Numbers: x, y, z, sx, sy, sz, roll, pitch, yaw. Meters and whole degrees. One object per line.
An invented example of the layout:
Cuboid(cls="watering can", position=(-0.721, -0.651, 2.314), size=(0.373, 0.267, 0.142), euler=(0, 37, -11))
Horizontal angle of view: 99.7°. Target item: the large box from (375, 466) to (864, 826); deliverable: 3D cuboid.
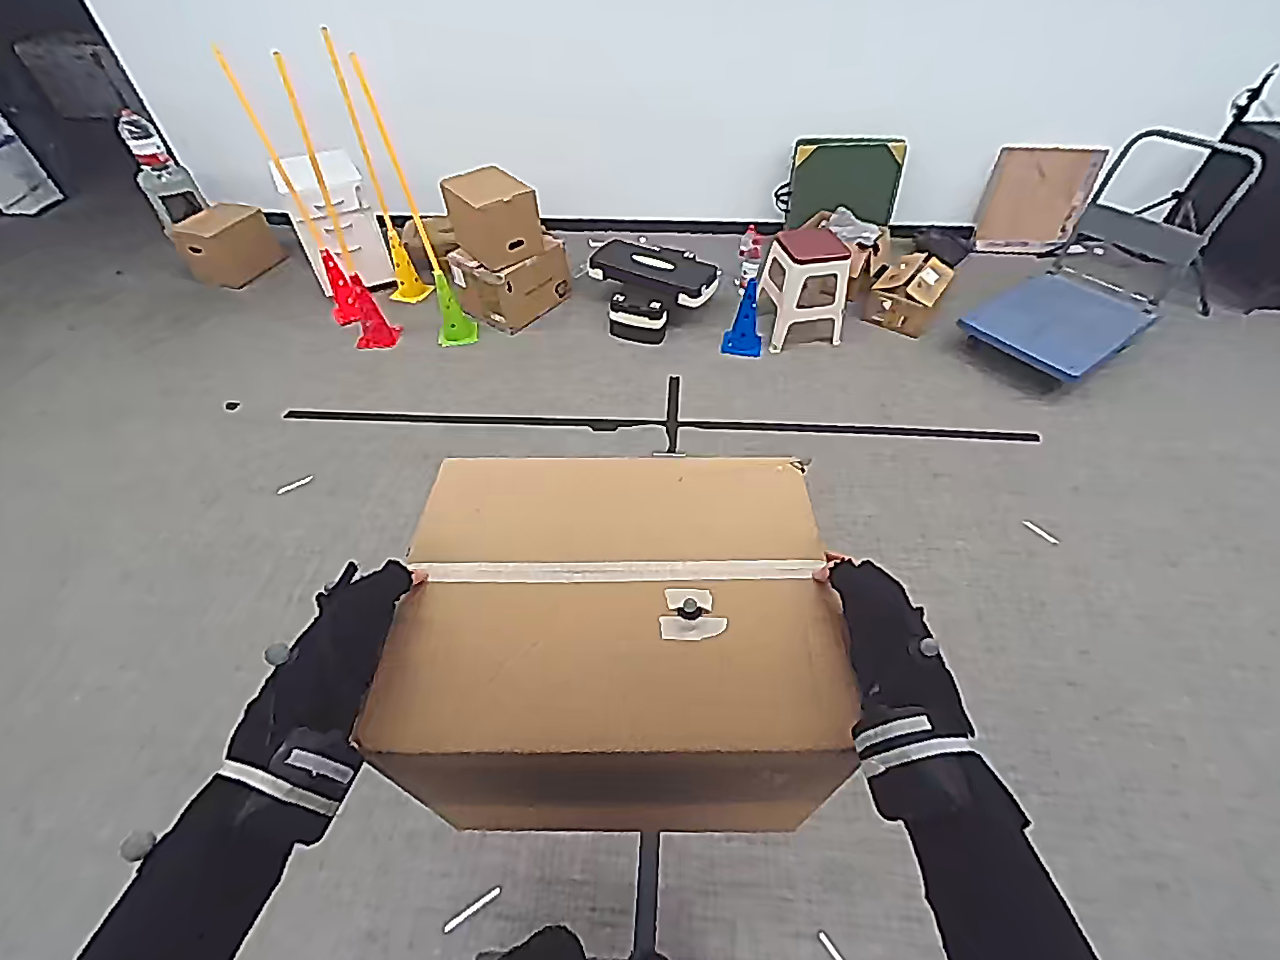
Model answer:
Cuboid(cls="large box", position=(-0.018, 0.197, 0.640), size=(0.408, 0.320, 0.320), euler=(0, 48, 0))

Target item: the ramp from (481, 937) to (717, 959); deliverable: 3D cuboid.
Cuboid(cls="ramp", position=(-0.107, 1.387, 0.863), size=(0.509, 0.206, 0.991), euler=(2, 49, 1))
